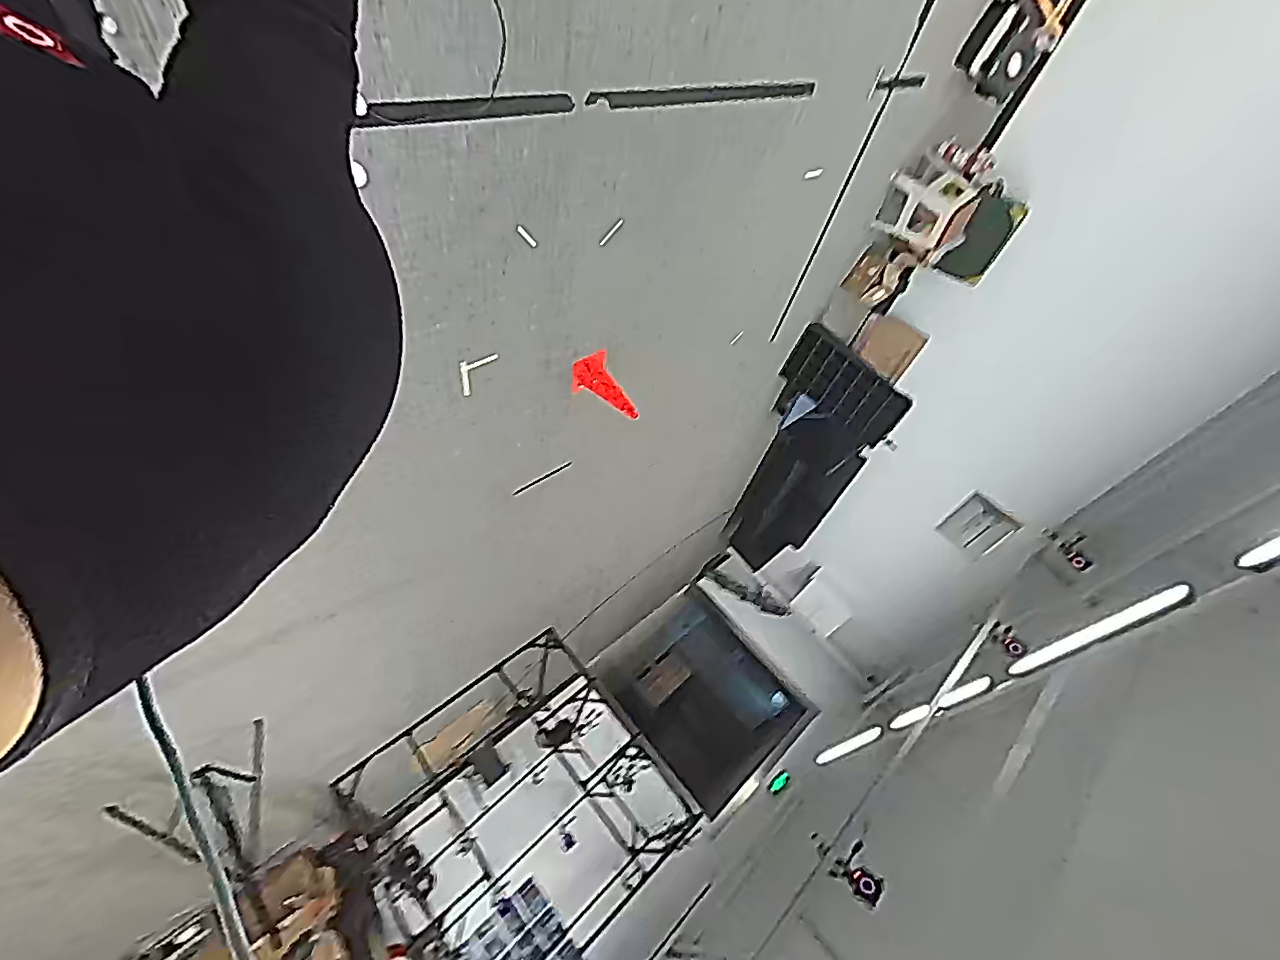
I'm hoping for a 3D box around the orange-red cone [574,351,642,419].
[{"bbox_3d":[-0.119,-0.408,2.530,0.199,0.360,0.198,-35,157,-28],"label":"orange-red cone"}]
